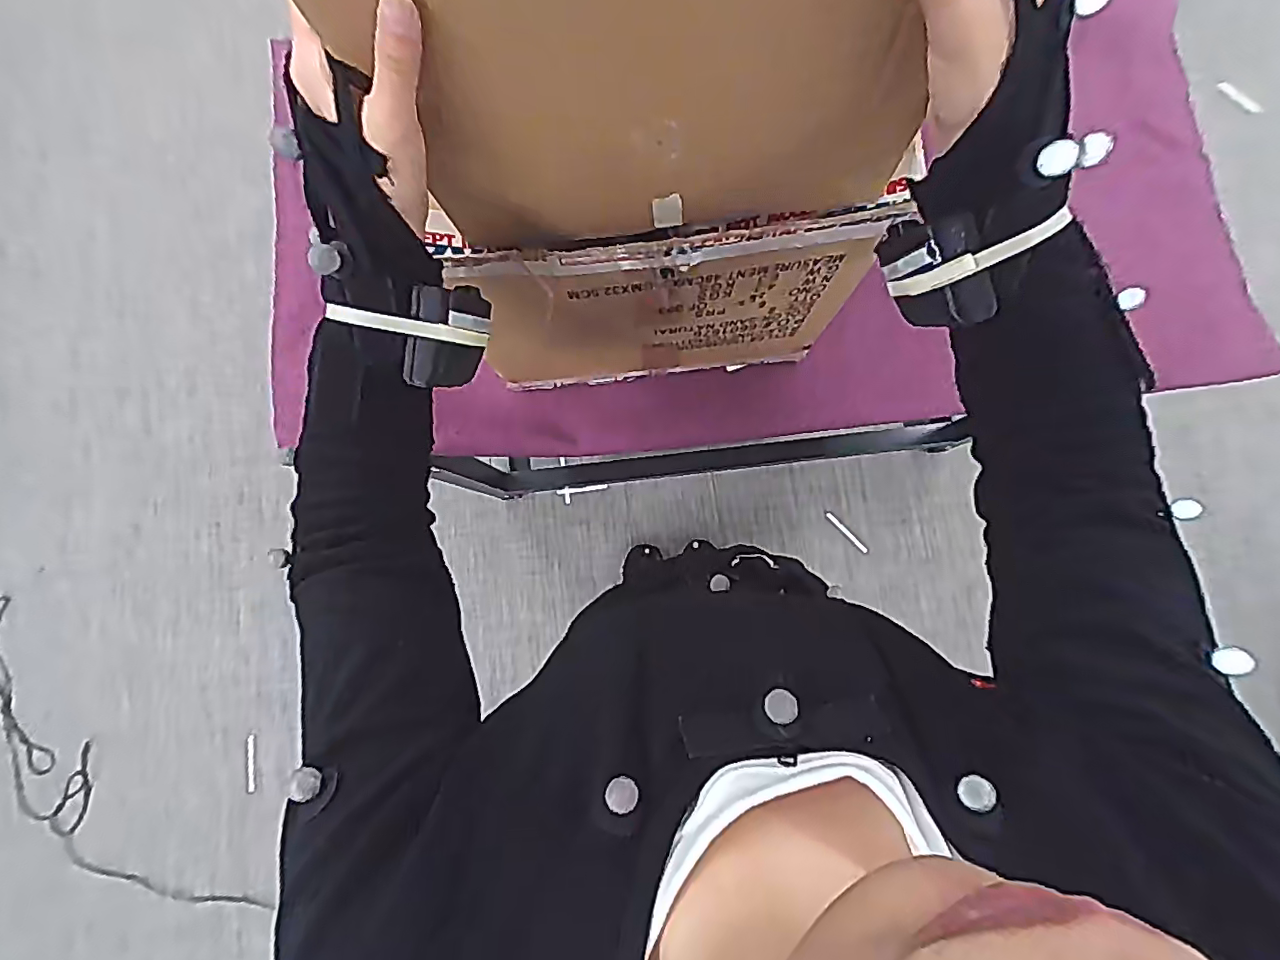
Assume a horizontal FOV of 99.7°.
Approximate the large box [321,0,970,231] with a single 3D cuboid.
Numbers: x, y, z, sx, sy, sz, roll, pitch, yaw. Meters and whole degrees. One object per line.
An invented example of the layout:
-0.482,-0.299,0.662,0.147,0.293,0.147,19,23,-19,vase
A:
-0.006,-0.413,0.280,0.320,0.320,0.408,-5,82,6,large box
